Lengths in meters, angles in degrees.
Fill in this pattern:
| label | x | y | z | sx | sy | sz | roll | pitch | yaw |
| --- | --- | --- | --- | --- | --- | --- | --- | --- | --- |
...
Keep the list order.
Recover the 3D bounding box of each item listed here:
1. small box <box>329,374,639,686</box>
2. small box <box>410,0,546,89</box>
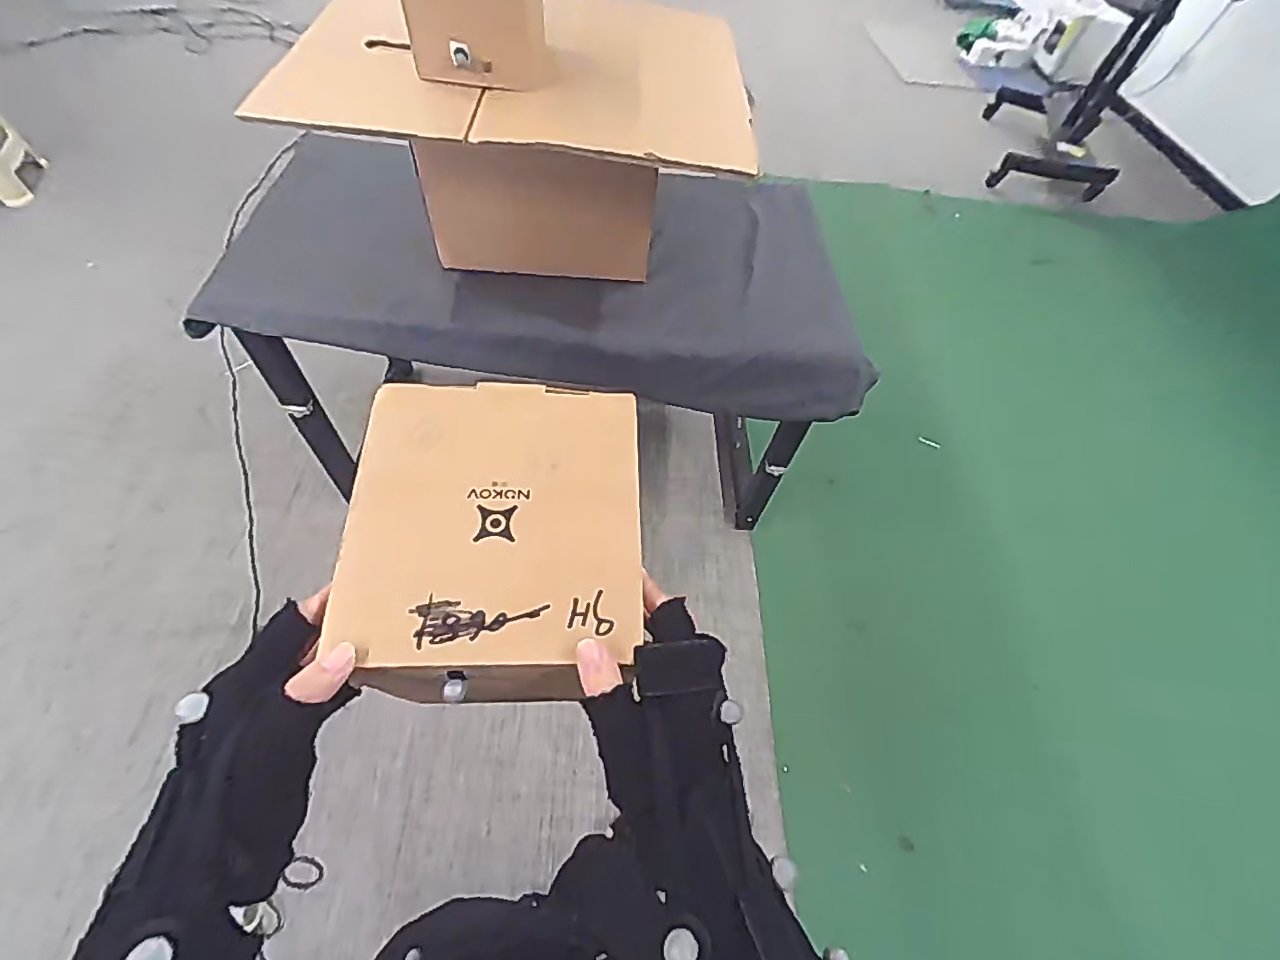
| label | x | y | z | sx | sy | sz | roll | pitch | yaw |
| --- | --- | --- | --- | --- | --- | --- | --- | --- | --- |
| small box | -0.091 | 0.046 | 0.397 | 0.168 | 0.176 | 0.179 | 1 | 61 | -5 |
| small box | -0.228 | -0.696 | 0.770 | 0.168 | 0.176 | 0.179 | 3 | 58 | -3 |
